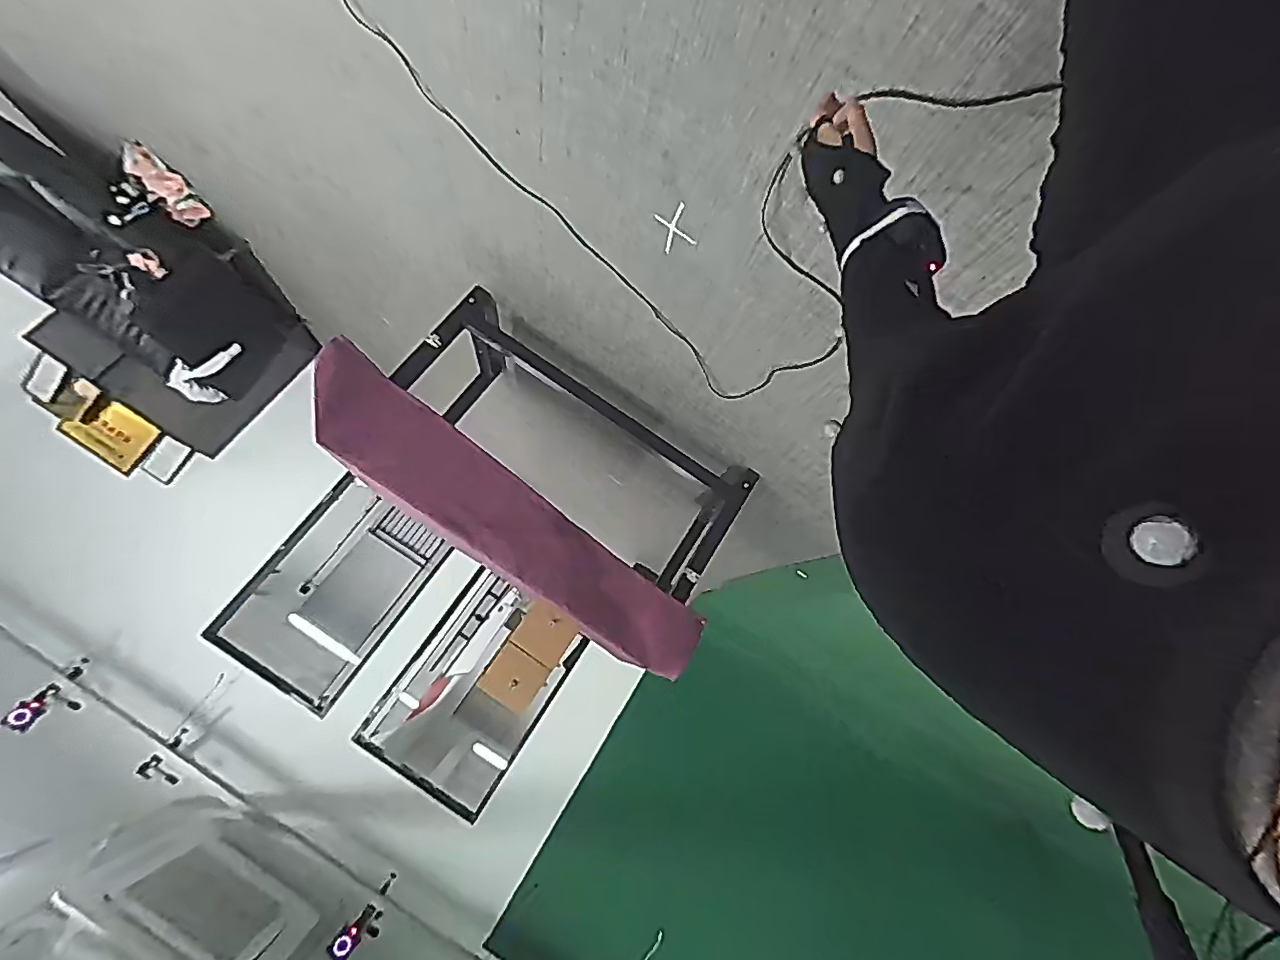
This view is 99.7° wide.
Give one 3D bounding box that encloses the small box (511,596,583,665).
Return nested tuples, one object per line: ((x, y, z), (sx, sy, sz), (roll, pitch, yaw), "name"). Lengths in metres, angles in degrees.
((-0.316, 0.508, 1.848), (0.179, 0.176, 0.168), (34, 162, 3), "small box")

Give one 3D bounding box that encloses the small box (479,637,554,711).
((-0.406, 0.636, 1.796), (0.179, 0.176, 0.168), (33, 162, 2), "small box")
